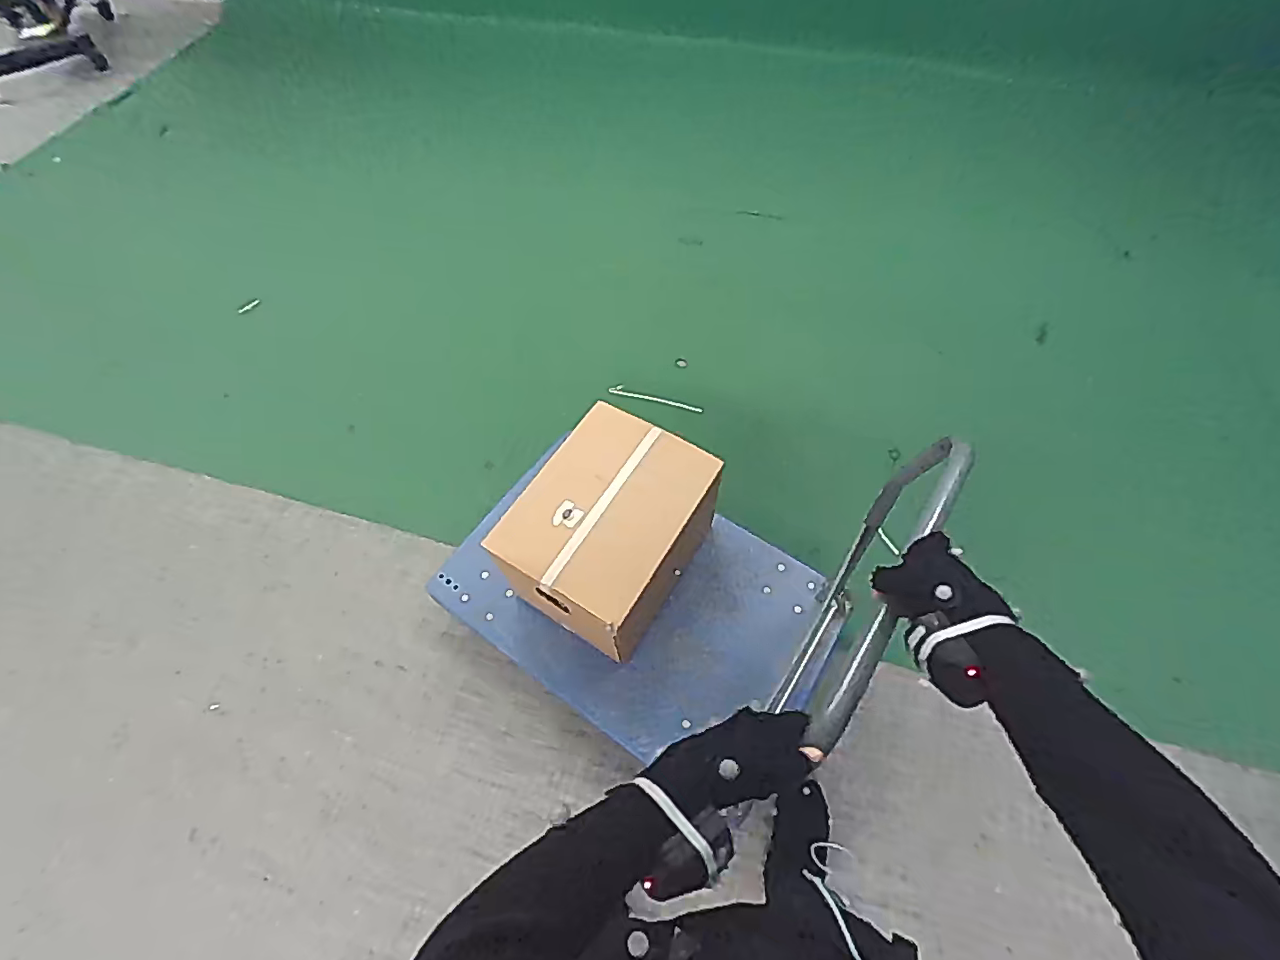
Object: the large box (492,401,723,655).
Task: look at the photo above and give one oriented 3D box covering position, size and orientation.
[{"bbox_3d":[-0.053,0.111,1.202,0.320,0.320,0.408,28,66,16],"label":"large box"}]
